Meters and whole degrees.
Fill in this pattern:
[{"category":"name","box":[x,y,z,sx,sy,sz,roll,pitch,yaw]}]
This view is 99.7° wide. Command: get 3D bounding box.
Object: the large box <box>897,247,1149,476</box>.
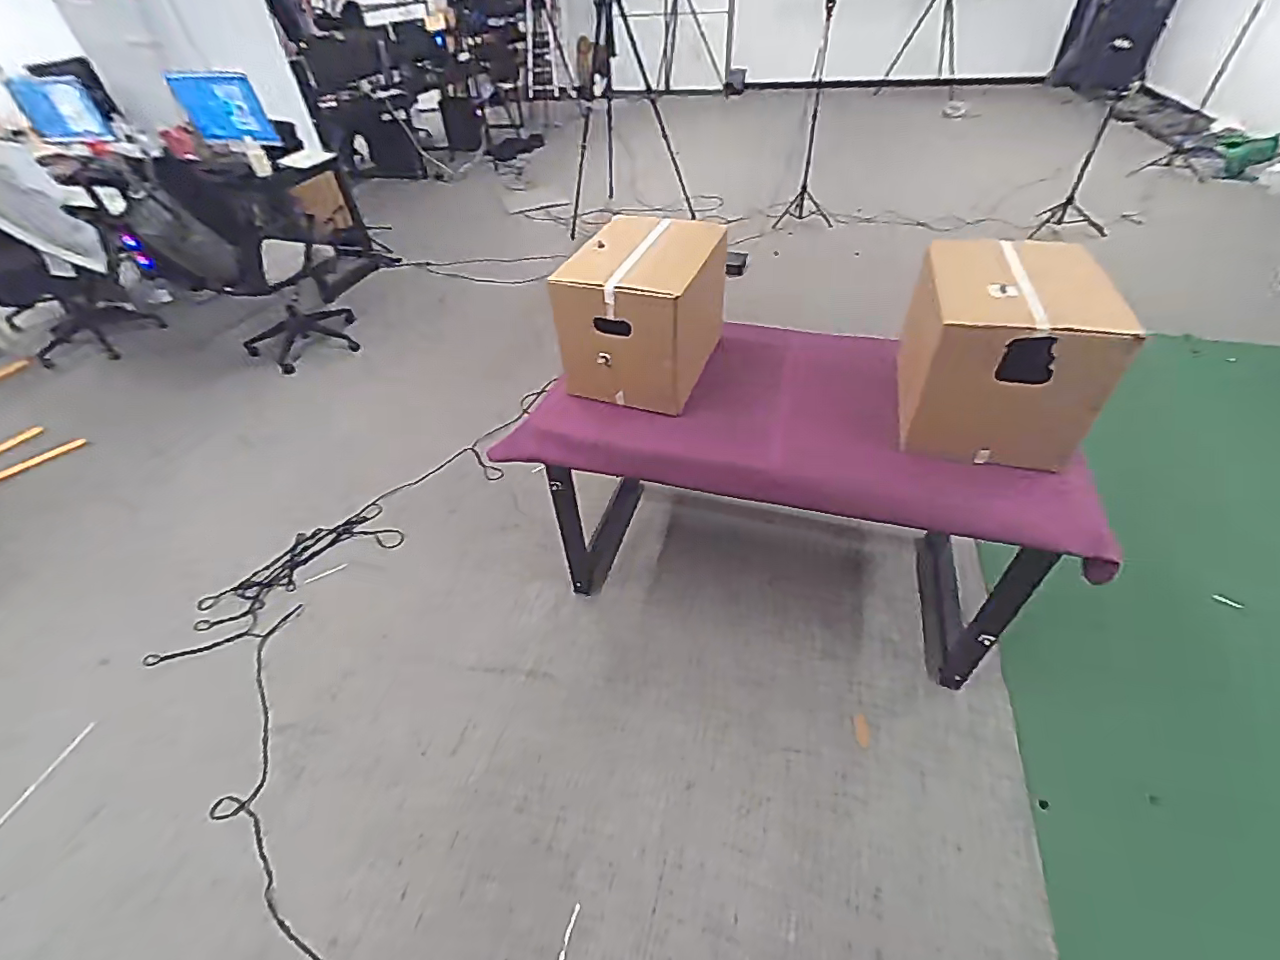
[{"category":"large box","box":[0.763,-0.267,1.166,0.320,0.320,0.408,8,45,16]}]
